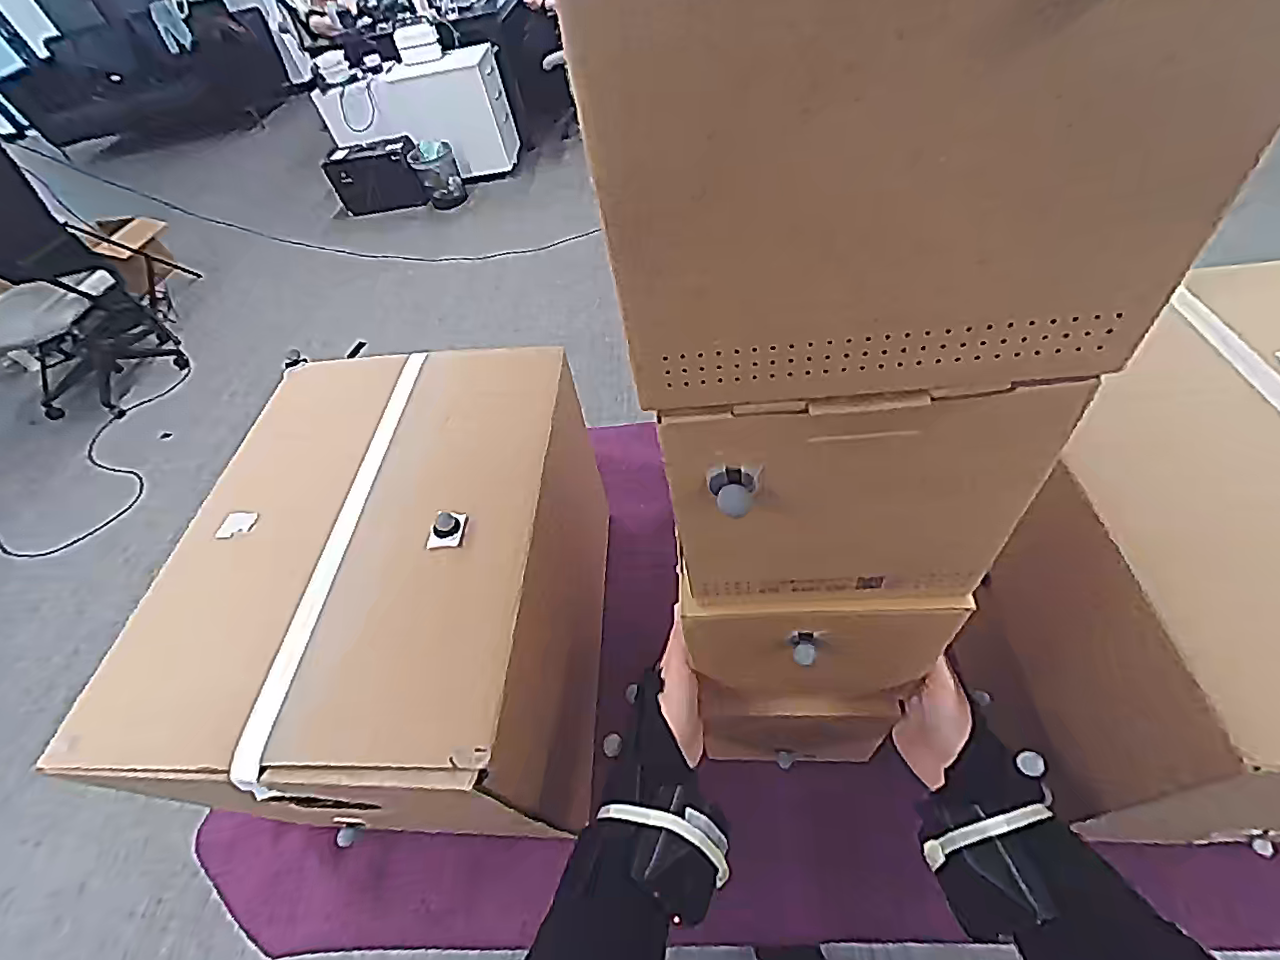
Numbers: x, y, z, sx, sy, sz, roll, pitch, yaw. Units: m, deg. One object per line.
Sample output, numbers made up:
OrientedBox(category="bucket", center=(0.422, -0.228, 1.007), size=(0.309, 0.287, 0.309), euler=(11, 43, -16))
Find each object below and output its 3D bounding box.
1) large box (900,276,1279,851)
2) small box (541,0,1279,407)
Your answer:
OrientedBox(category="large box", center=(0.475, 0.077, 0.488), size=(0.320, 0.320, 0.408), euler=(-4, 50, 7))
OrientedBox(category="small box", center=(0.075, -0.144, 0.195), size=(0.179, 0.176, 0.168), euler=(-4, 49, 10))
